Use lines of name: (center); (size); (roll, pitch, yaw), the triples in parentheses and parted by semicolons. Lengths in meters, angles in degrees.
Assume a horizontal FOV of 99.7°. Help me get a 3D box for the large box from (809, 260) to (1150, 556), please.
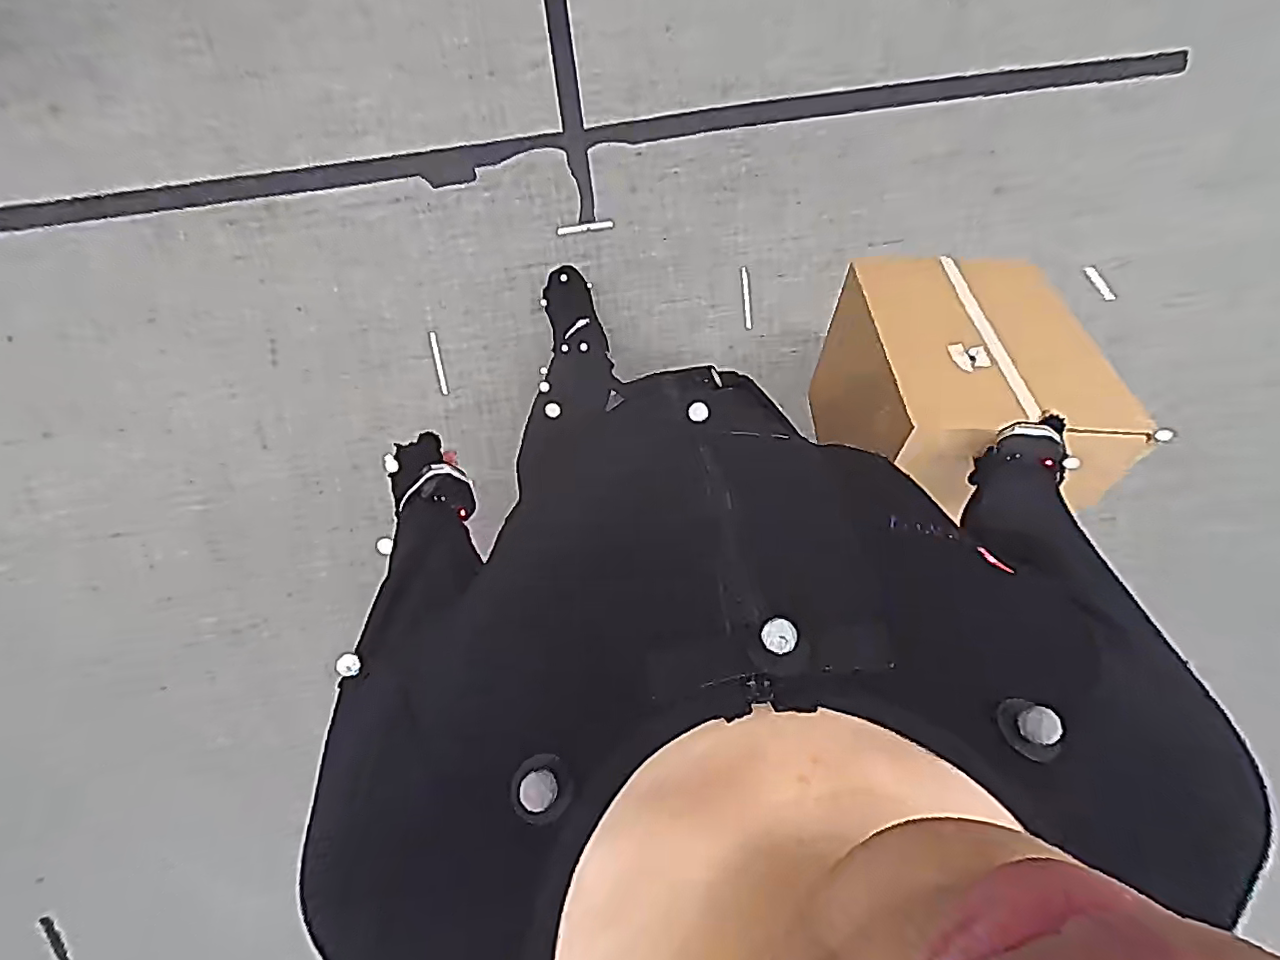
large box: (0.511, -0.124, 0.934); (0.320, 0.408, 0.320); (3, 143, 1)
